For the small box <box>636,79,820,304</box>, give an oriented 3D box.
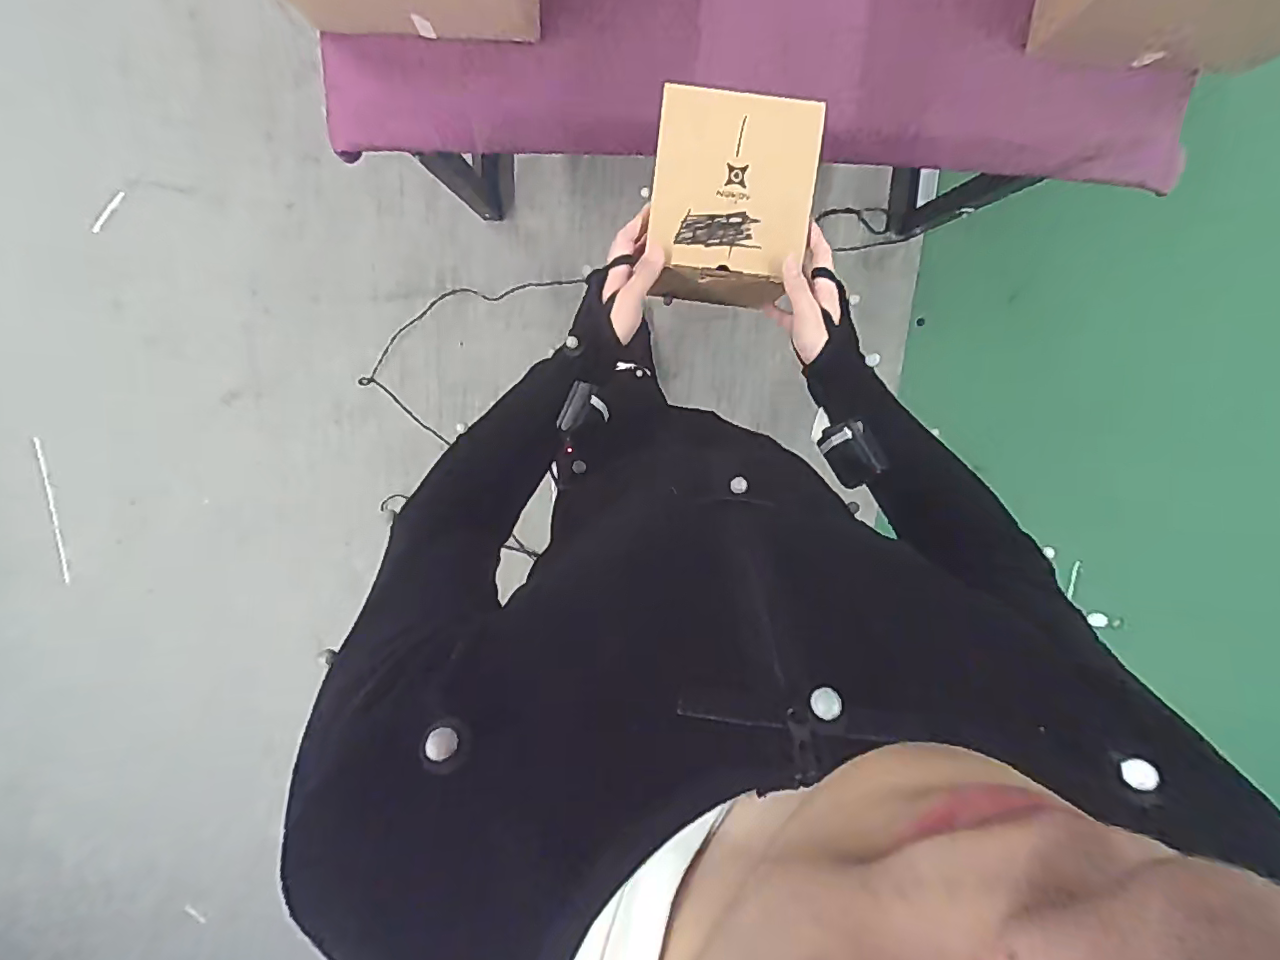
[{"bbox_3d":[0.089,-0.313,0.626,0.168,0.176,0.179,7,97,-1],"label":"small box"}]
